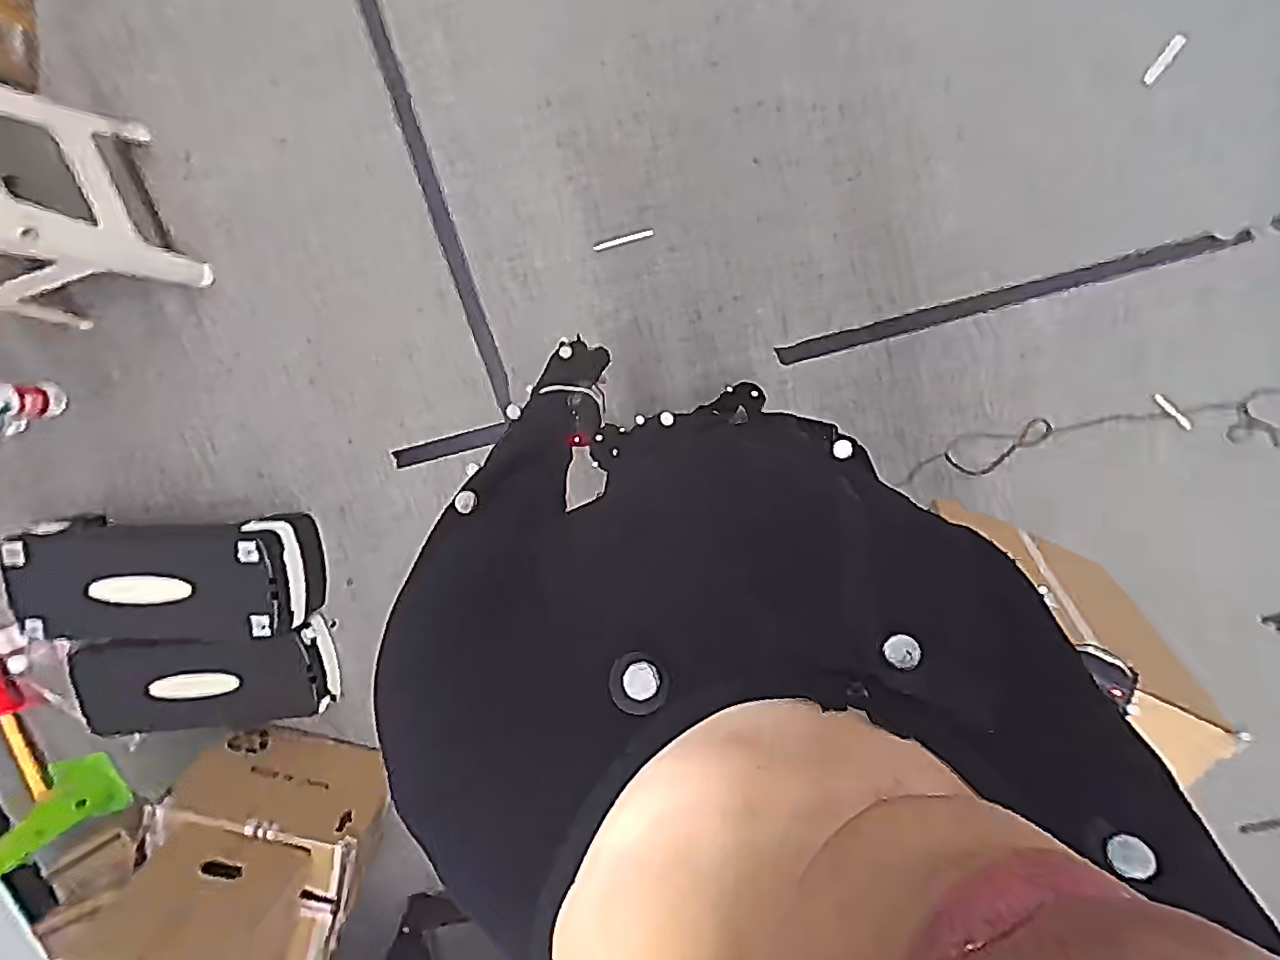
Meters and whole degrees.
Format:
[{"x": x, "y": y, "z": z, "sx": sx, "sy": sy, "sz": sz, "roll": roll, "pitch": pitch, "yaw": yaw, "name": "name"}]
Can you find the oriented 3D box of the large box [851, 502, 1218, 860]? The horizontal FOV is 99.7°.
[{"x": 0.578, "y": 0.302, "z": 0.914, "sx": 0.320, "sy": 0.408, "sz": 0.320, "roll": 26, "pitch": 118, "yaw": 9, "name": "large box"}]
